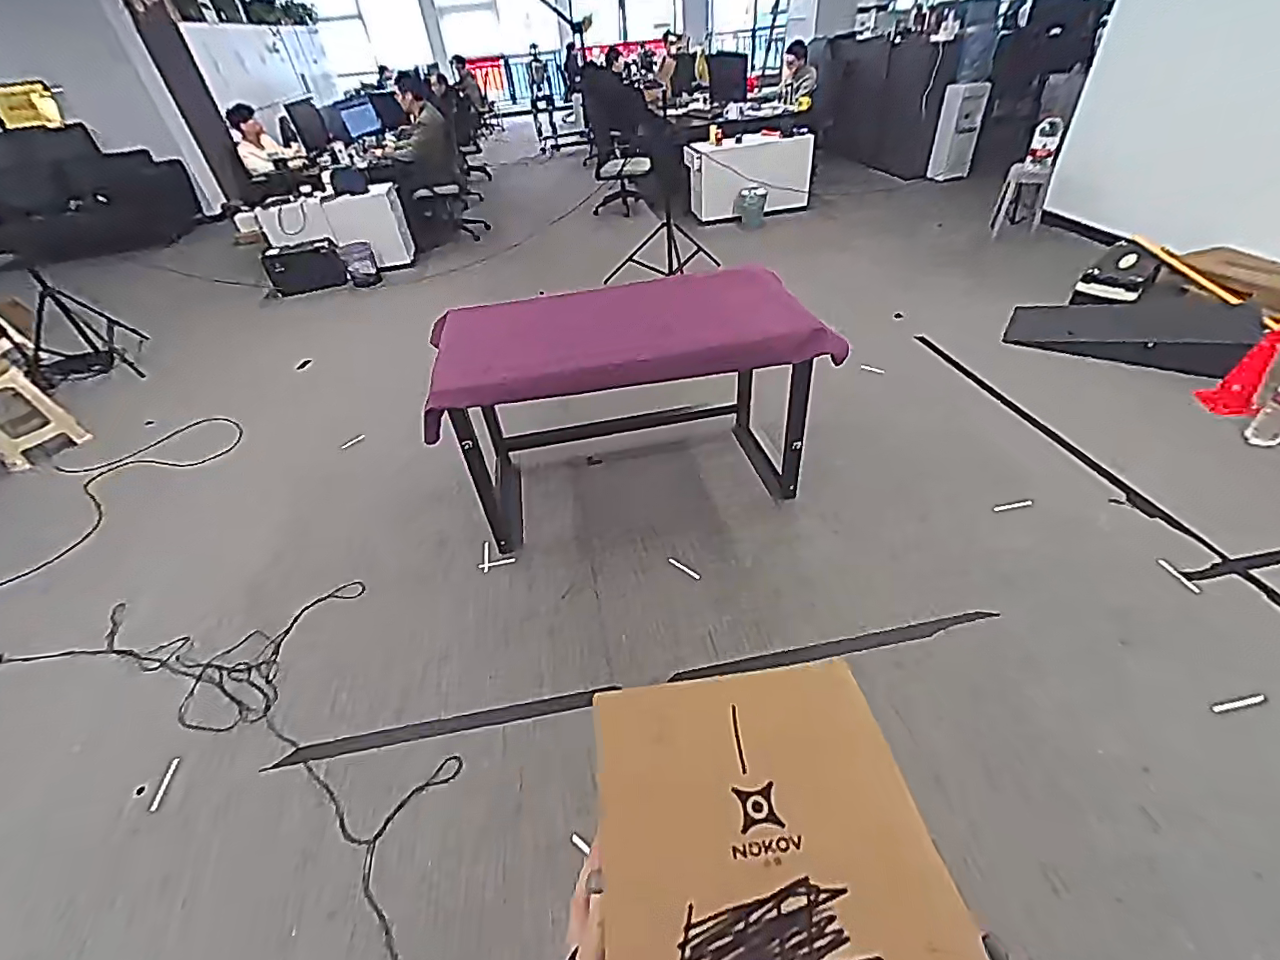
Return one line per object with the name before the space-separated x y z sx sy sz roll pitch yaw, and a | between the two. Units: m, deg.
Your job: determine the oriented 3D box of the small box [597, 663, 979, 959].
small box | 0.067 0.244 0.330 0.168 0.176 0.179 -7 37 -3
